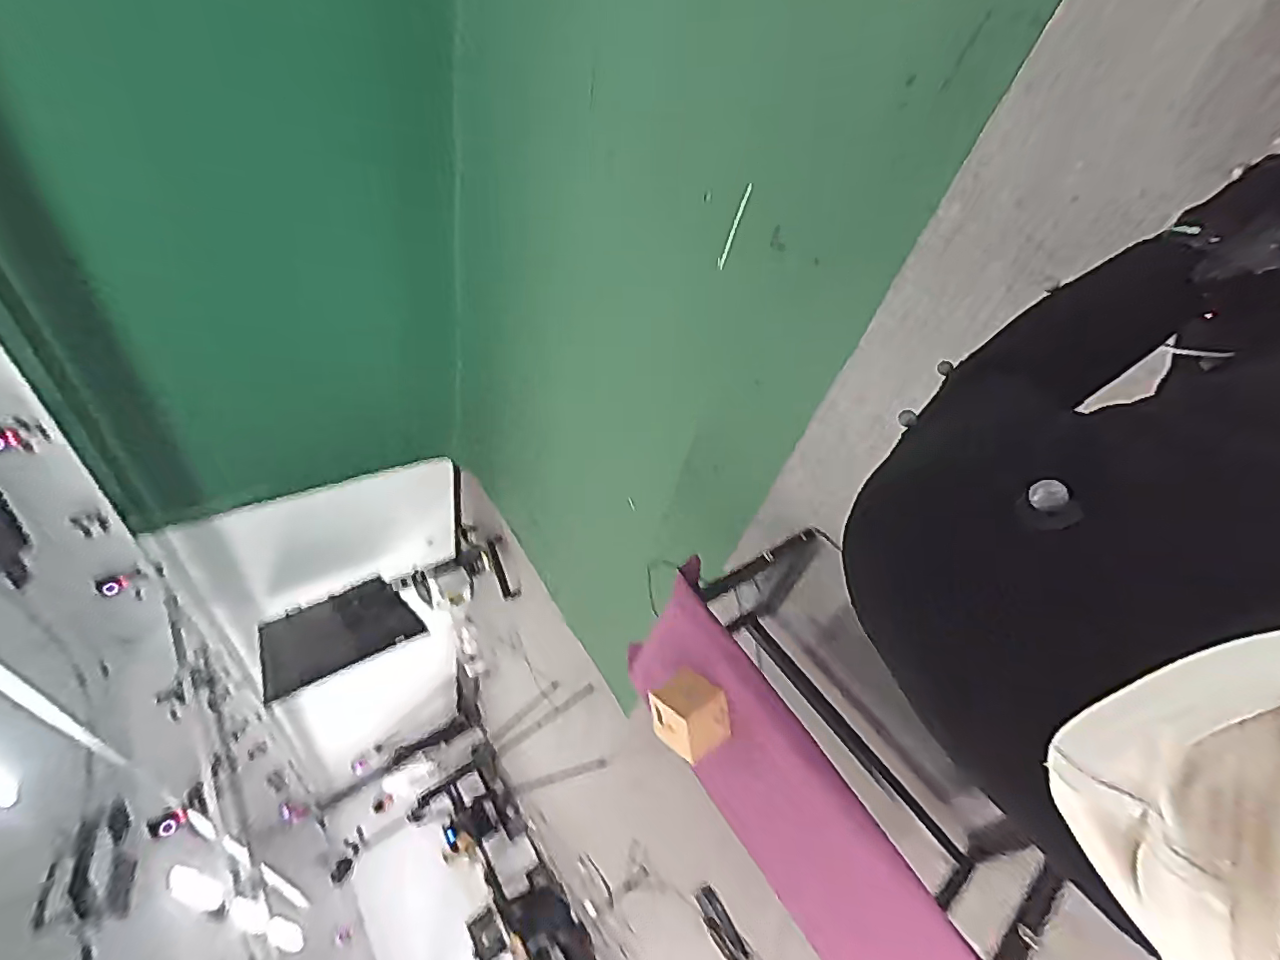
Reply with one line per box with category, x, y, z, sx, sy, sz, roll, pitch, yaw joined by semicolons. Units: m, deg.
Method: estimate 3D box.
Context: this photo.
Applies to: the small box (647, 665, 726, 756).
small box;0.147;0.707;1.684;0.179;0.176;0.168;15;119;50
